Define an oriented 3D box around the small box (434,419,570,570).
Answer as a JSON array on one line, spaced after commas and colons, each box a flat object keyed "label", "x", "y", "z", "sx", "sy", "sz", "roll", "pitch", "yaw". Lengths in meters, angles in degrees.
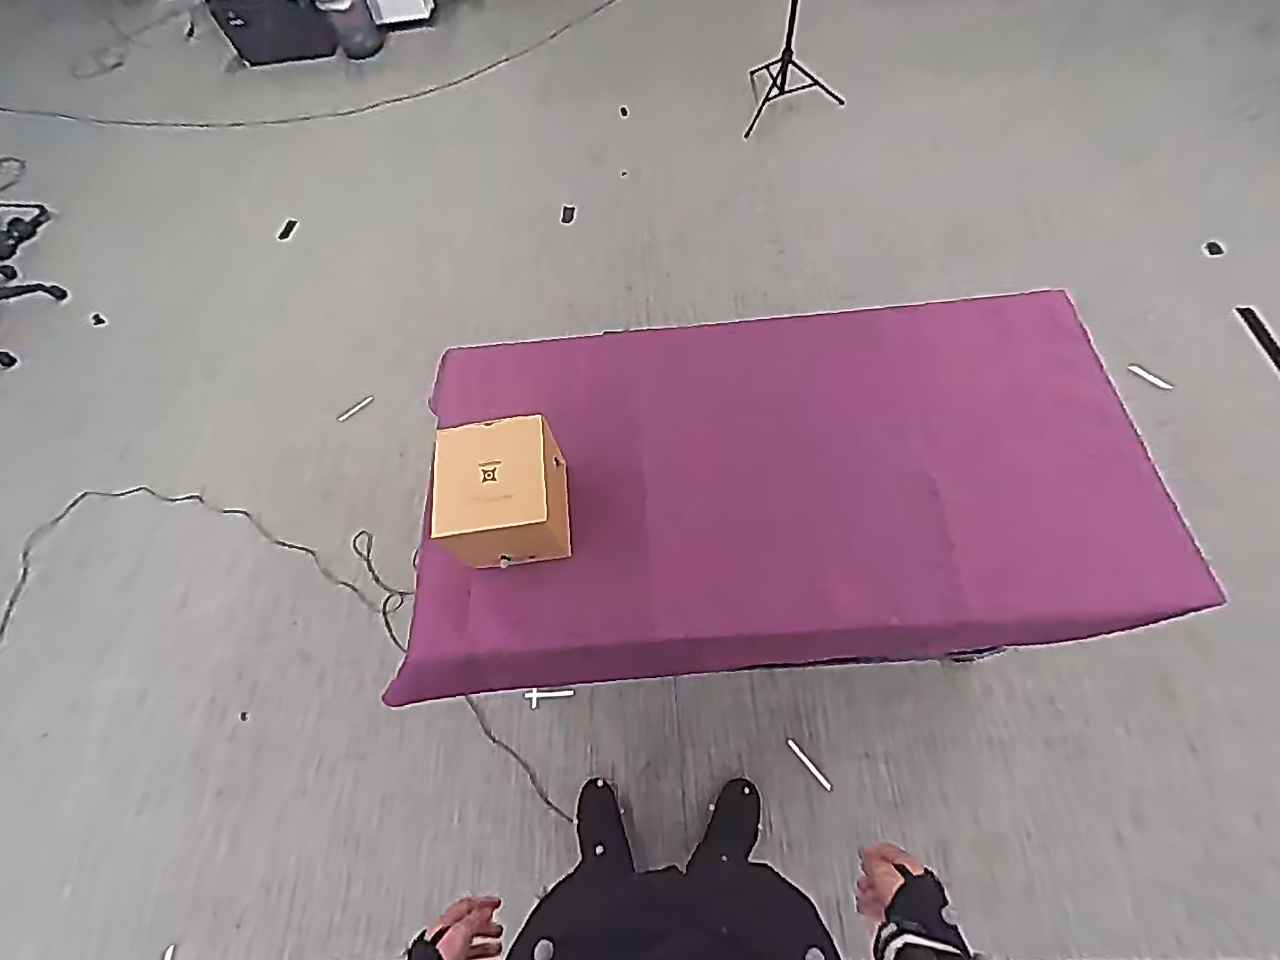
[{"label": "small box", "x": -0.209, "y": 0.027, "z": 0.860, "sx": 0.168, "sy": 0.176, "sz": 0.179, "roll": -8, "pitch": 63, "yaw": 2}]
